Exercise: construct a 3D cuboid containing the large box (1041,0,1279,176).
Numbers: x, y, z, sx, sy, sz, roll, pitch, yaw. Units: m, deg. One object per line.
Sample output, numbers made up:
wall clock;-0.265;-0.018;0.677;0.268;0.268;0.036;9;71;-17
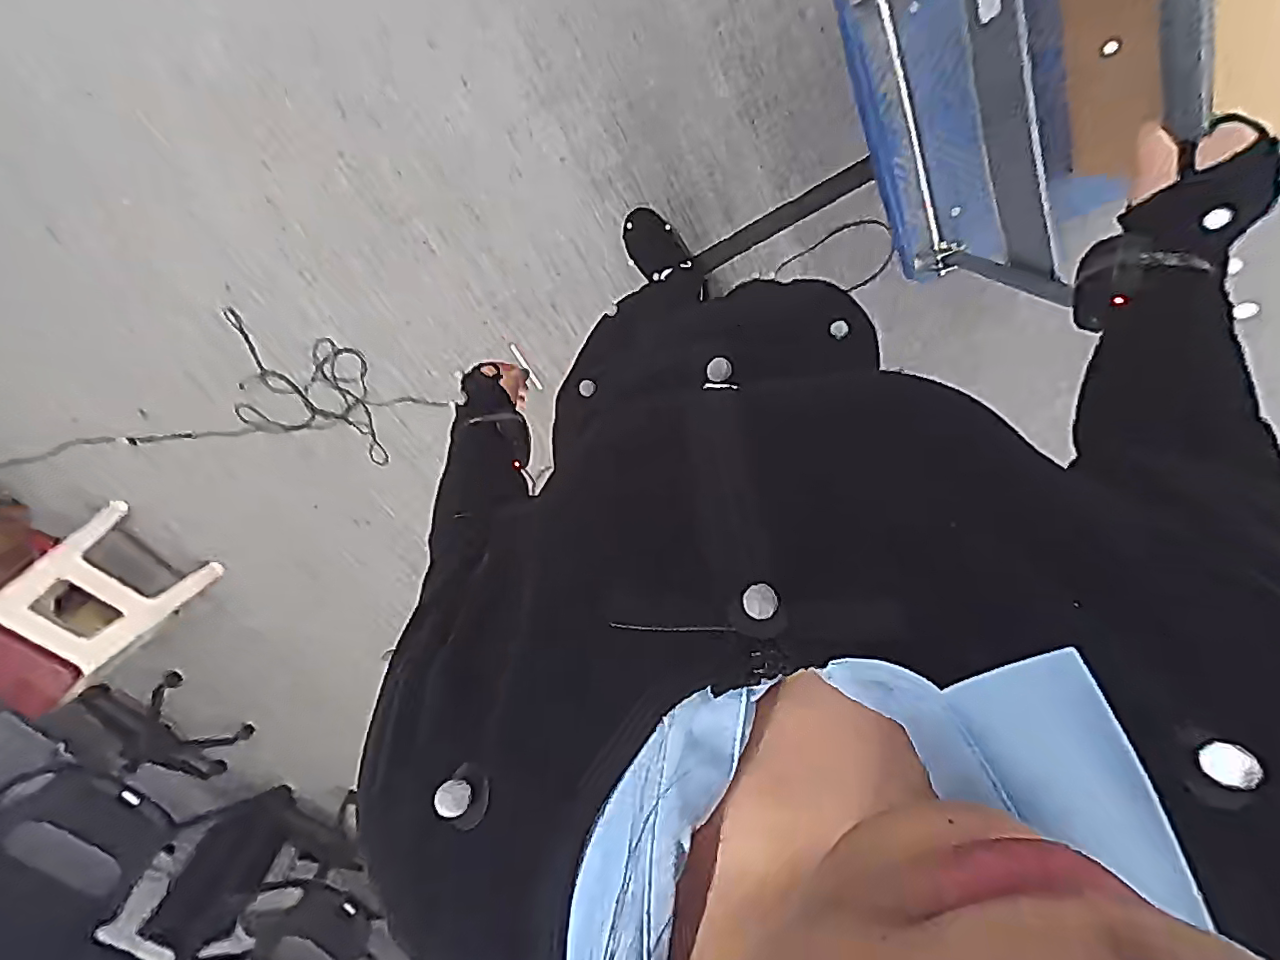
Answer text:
large box;0.857;-0.729;0.798;0.320;0.320;0.408;-22;115;15
